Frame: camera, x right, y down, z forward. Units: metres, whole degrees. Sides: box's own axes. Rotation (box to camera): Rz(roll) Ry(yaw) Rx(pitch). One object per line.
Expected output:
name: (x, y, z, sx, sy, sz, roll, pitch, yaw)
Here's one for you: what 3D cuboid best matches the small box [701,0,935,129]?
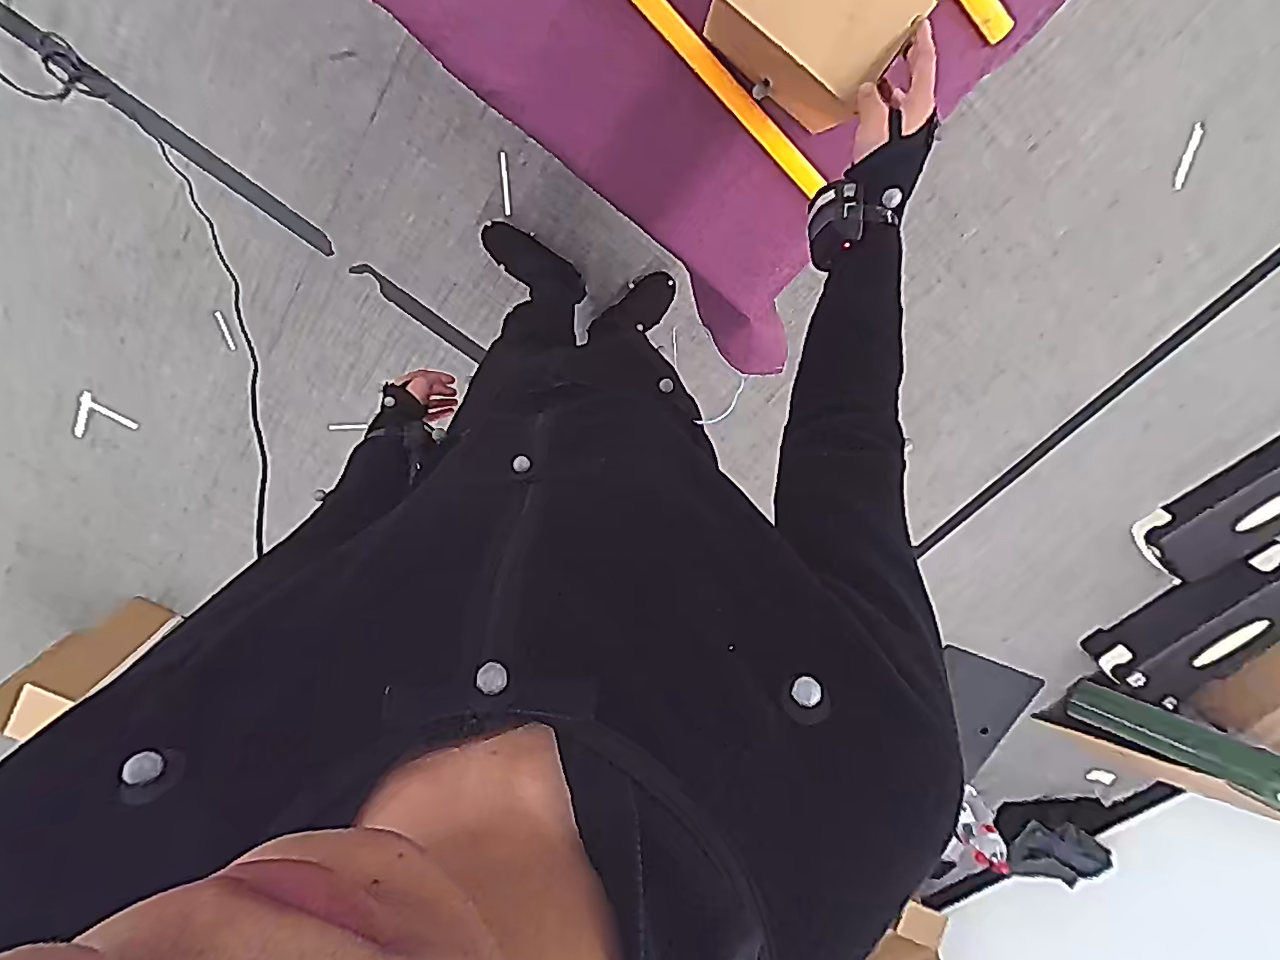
small box: (0.182, -0.497, 0.561, 0.179, 0.176, 0.168, 31, 115, -14)
